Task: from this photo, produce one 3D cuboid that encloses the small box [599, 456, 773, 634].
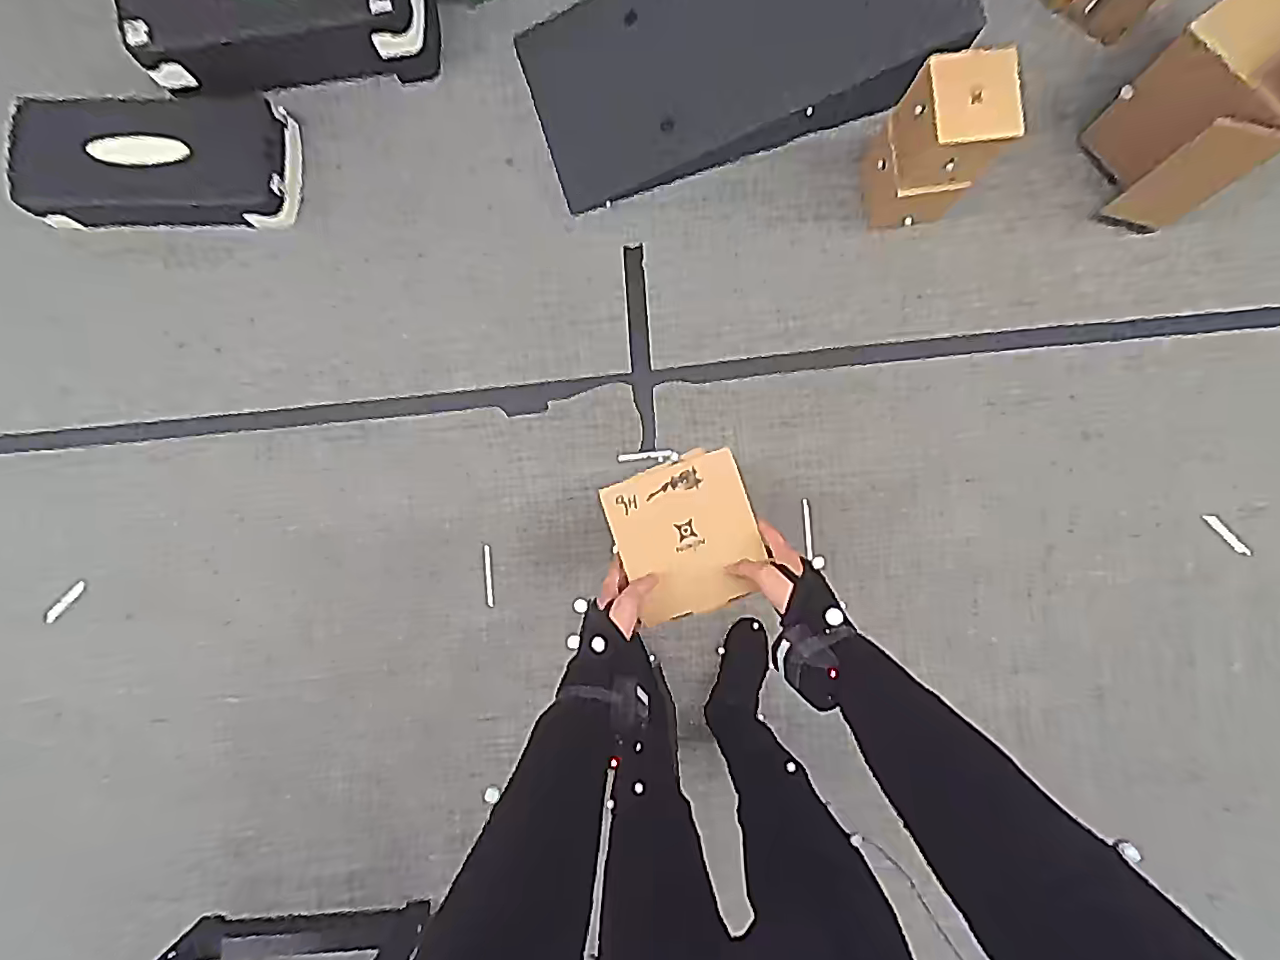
[{"bbox_3d":[0.056,0.076,0.713,0.168,0.176,0.179,-19,89,0],"label":"small box"}]
